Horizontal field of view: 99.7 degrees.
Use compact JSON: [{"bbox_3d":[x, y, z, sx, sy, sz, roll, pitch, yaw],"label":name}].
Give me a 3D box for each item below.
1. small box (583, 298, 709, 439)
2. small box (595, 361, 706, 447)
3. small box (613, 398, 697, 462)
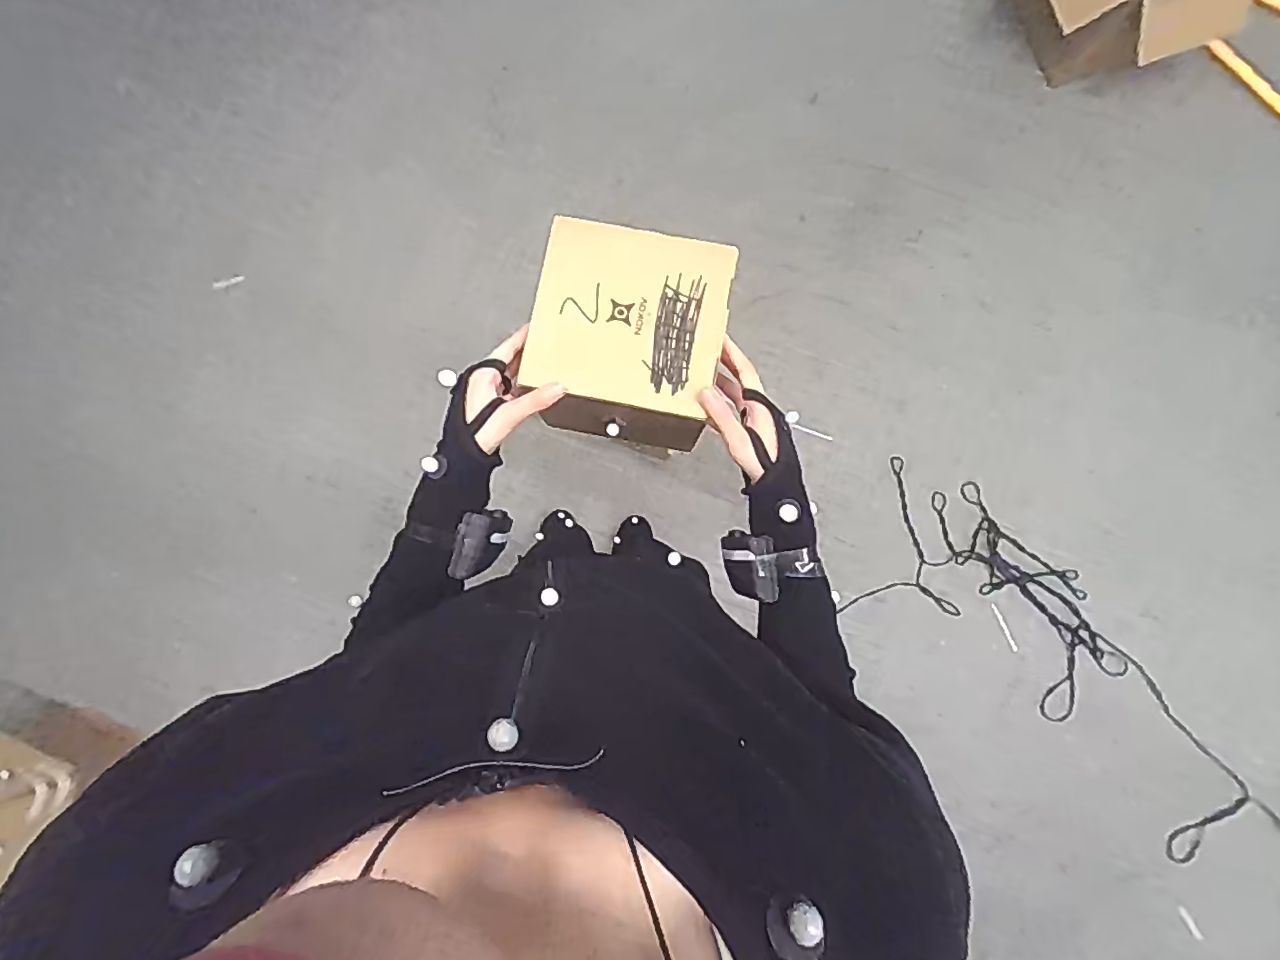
[{"bbox_3d":[0.011,-0.187,0.958,0.168,0.176,0.179,19,87,3],"label":"small box"},{"bbox_3d":[0.021,-0.174,1.121,0.179,0.176,0.168,19,86,2],"label":"small box"},{"bbox_3d":[0.038,-0.156,1.447,0.179,0.176,0.168,21,86,2],"label":"small box"}]
